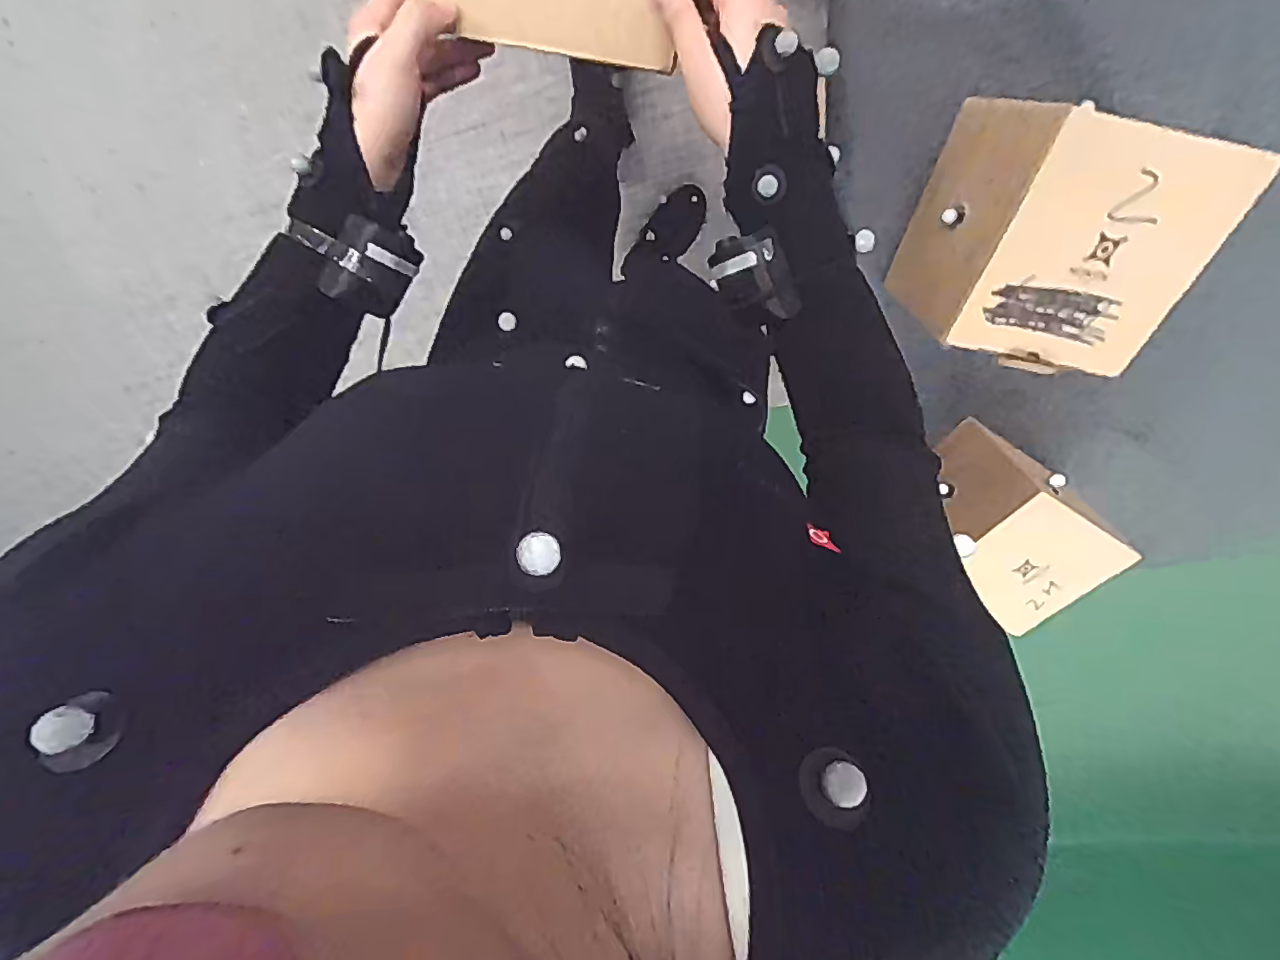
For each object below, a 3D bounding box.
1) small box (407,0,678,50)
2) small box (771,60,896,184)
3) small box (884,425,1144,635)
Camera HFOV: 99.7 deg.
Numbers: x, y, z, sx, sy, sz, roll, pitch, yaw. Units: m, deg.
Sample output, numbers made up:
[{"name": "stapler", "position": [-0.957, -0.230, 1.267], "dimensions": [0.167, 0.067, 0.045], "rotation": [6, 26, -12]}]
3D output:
[{"name": "small box", "position": [-0.052, -0.407, 0.366], "dimensions": [0.179, 0.176, 0.168], "rotation": [6, 129, -3]}, {"name": "small box", "position": [0.358, -0.690, 1.042], "dimensions": [0.168, 0.176, 0.179], "rotation": [6, 126, -1]}, {"name": "small box", "position": [0.446, 0.055, 0.679], "dimensions": [0.179, 0.176, 0.168], "rotation": [27, 122, -16]}]
